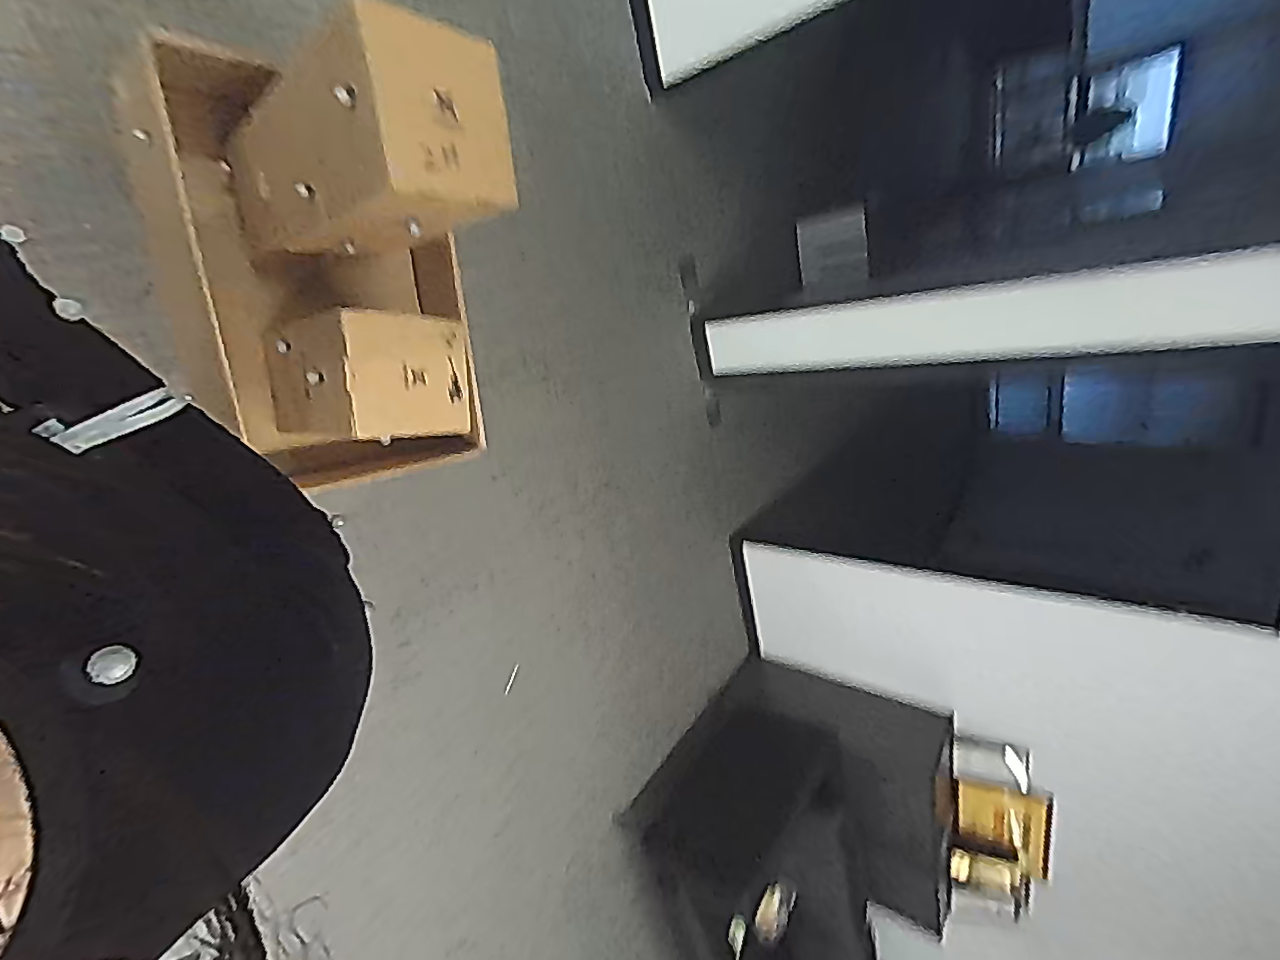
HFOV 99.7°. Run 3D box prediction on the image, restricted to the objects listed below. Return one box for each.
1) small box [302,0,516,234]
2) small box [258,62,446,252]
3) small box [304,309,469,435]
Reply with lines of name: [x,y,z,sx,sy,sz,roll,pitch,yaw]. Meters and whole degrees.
small box: [-0.277,-0.413,0.653,0.168,0.176,0.179,-22,112,-46]
small box: [-0.403,-0.431,0.759,0.168,0.176,0.179,-21,112,-47]
small box: [-0.384,-0.154,0.814,0.179,0.176,0.168,-11,103,-48]
